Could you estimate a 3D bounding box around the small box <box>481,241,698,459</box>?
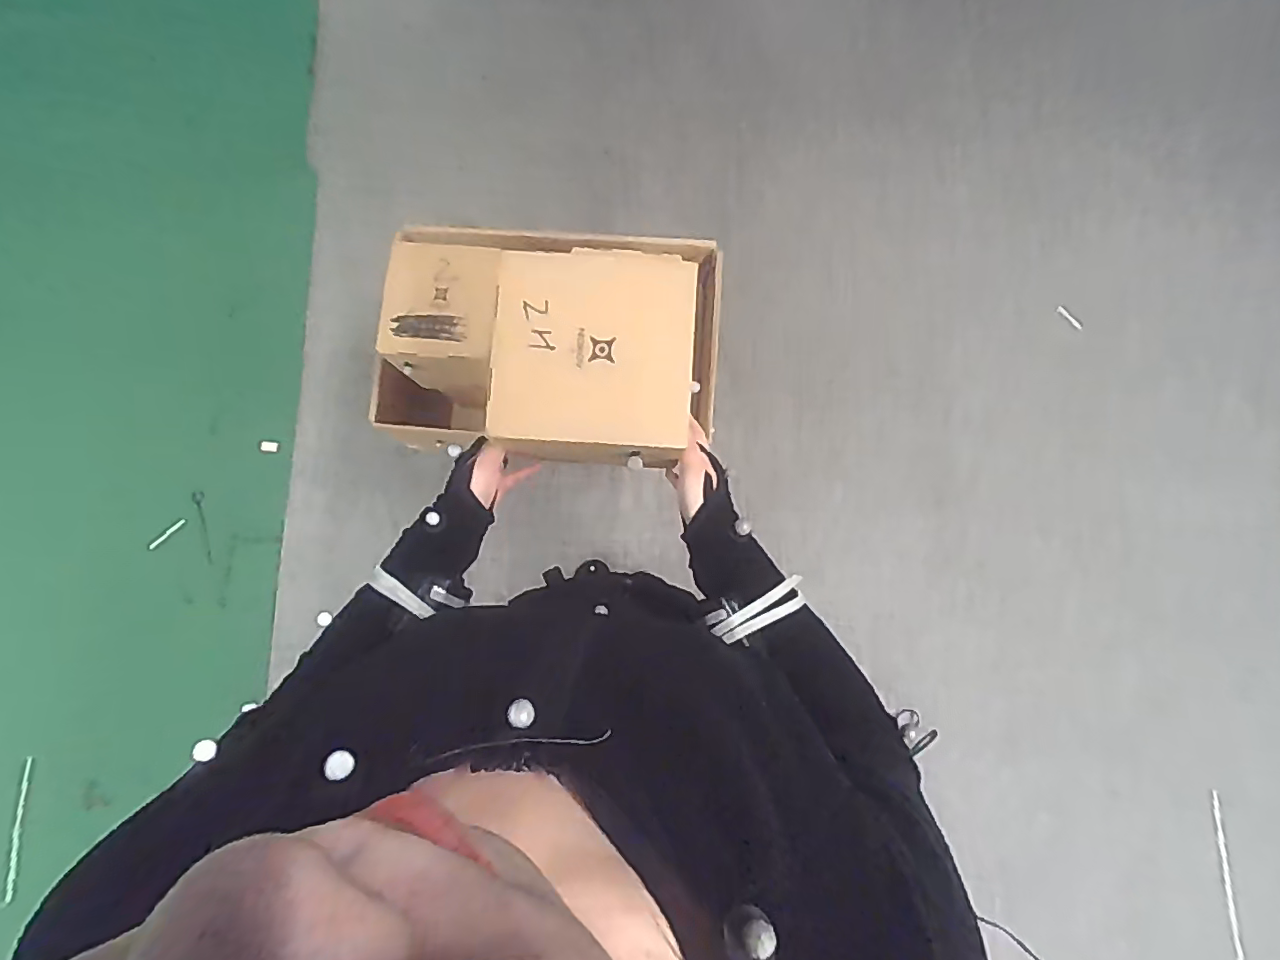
[{"bbox_3d":[-0.043,-0.114,0.543,0.179,0.176,0.168,5,85,1],"label":"small box"}]
